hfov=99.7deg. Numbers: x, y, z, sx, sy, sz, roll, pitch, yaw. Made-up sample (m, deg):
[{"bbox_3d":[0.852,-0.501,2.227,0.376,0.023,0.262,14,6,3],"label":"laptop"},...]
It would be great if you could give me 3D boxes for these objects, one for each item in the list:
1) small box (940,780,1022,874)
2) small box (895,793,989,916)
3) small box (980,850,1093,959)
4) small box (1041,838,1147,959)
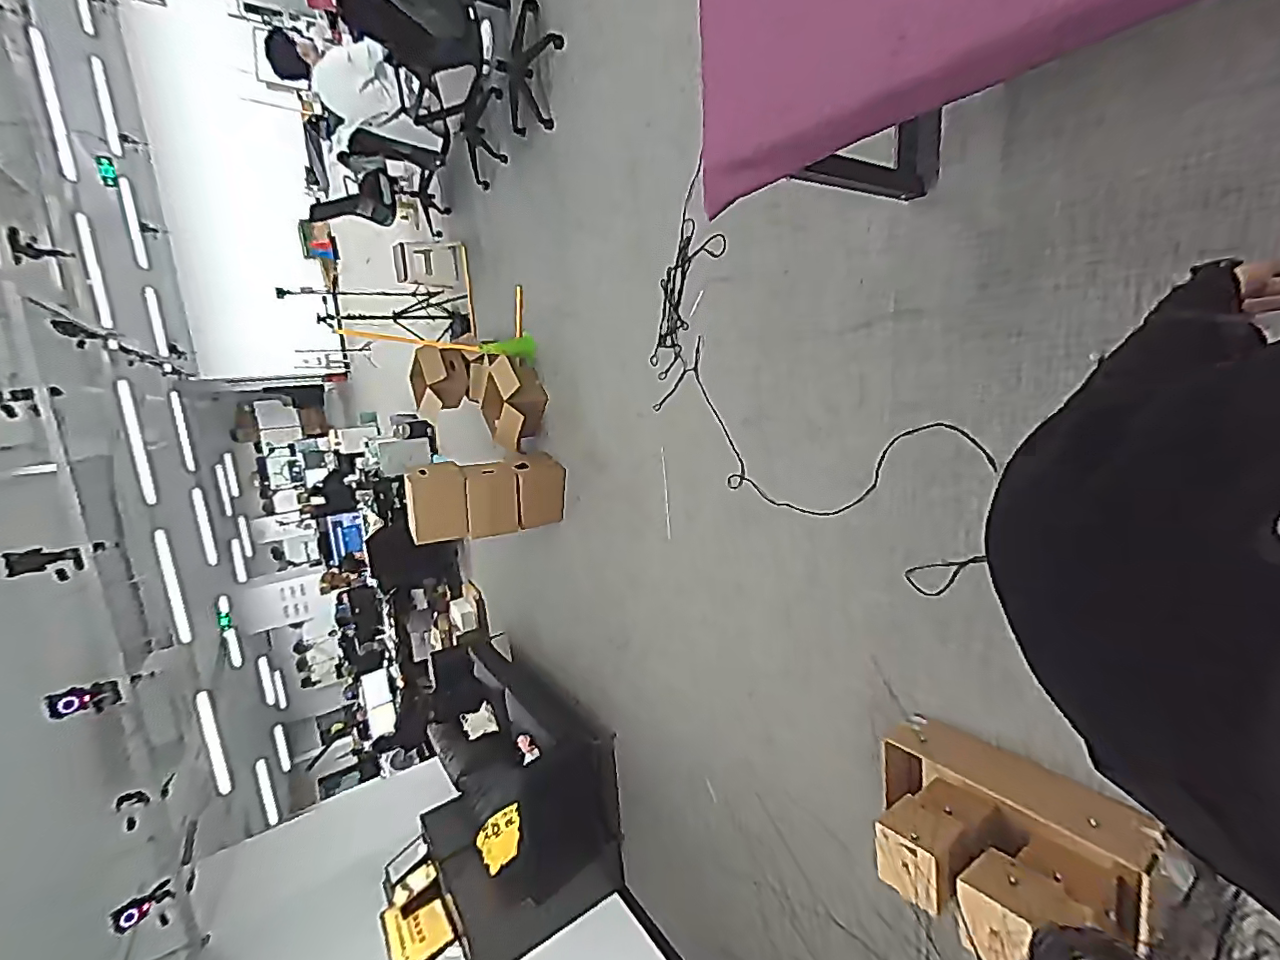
[{"bbox_3d":[0.960,0.995,1.542,0.179,0.176,0.168,-3,96,58],"label":"small box"},{"bbox_3d":[0.816,0.998,1.459,0.168,0.176,0.179,4,103,56],"label":"small box"},{"bbox_3d":[0.936,1.030,1.278,0.168,0.176,0.179,0,98,60],"label":"small box"},{"bbox_3d":[1.102,1.026,1.322,0.179,0.176,0.168,4,101,60],"label":"small box"}]
